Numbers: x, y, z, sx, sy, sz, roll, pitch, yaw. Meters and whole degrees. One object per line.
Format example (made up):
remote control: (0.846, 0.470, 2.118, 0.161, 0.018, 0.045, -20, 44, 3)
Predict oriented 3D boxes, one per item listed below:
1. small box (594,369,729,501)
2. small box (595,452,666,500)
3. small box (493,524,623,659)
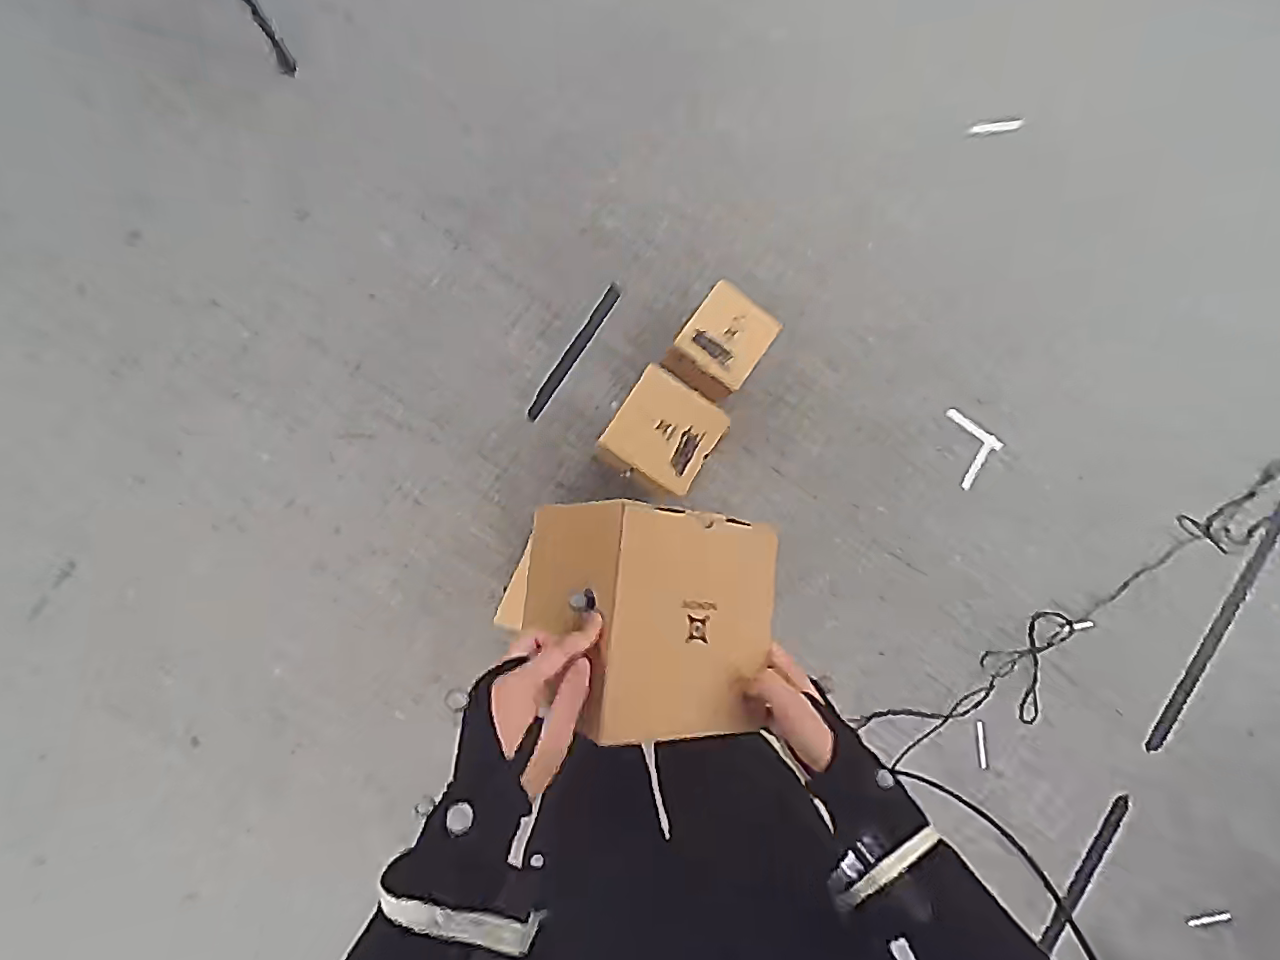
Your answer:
small box: (0.032, -0.077, 1.003, 0.179, 0.176, 0.168, 34, 84, -6)
small box: (0.016, -0.071, 1.167, 0.179, 0.176, 0.168, 37, 84, -7)
small box: (-0.146, 0.191, 0.972, 0.168, 0.176, 0.179, 24, 84, -9)
